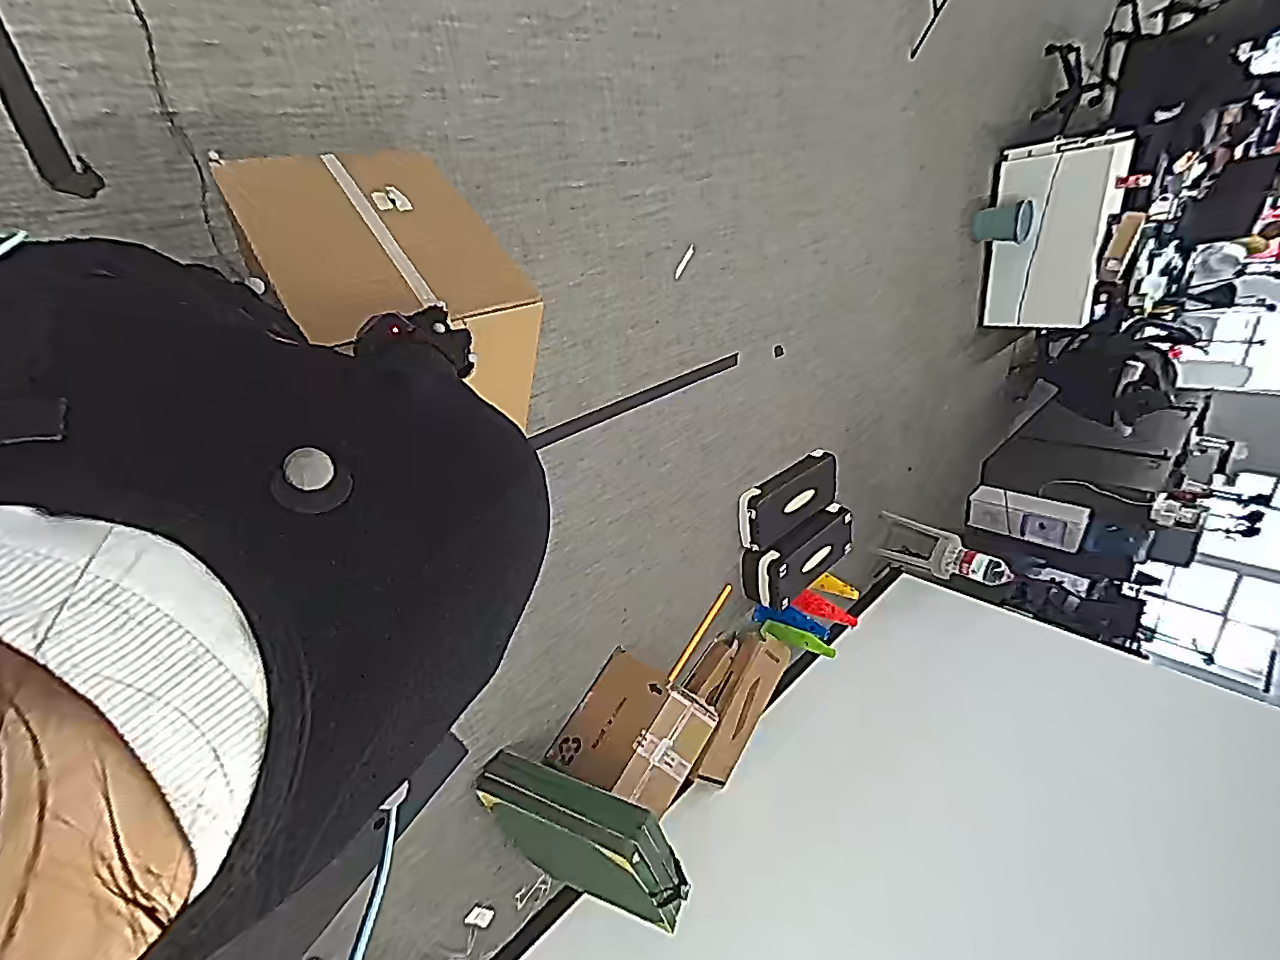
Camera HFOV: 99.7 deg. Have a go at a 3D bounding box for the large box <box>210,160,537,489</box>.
[{"bbox_3d":[-0.419,-0.264,0.901,0.320,0.408,0.320,-25,156,-33],"label":"large box"}]
